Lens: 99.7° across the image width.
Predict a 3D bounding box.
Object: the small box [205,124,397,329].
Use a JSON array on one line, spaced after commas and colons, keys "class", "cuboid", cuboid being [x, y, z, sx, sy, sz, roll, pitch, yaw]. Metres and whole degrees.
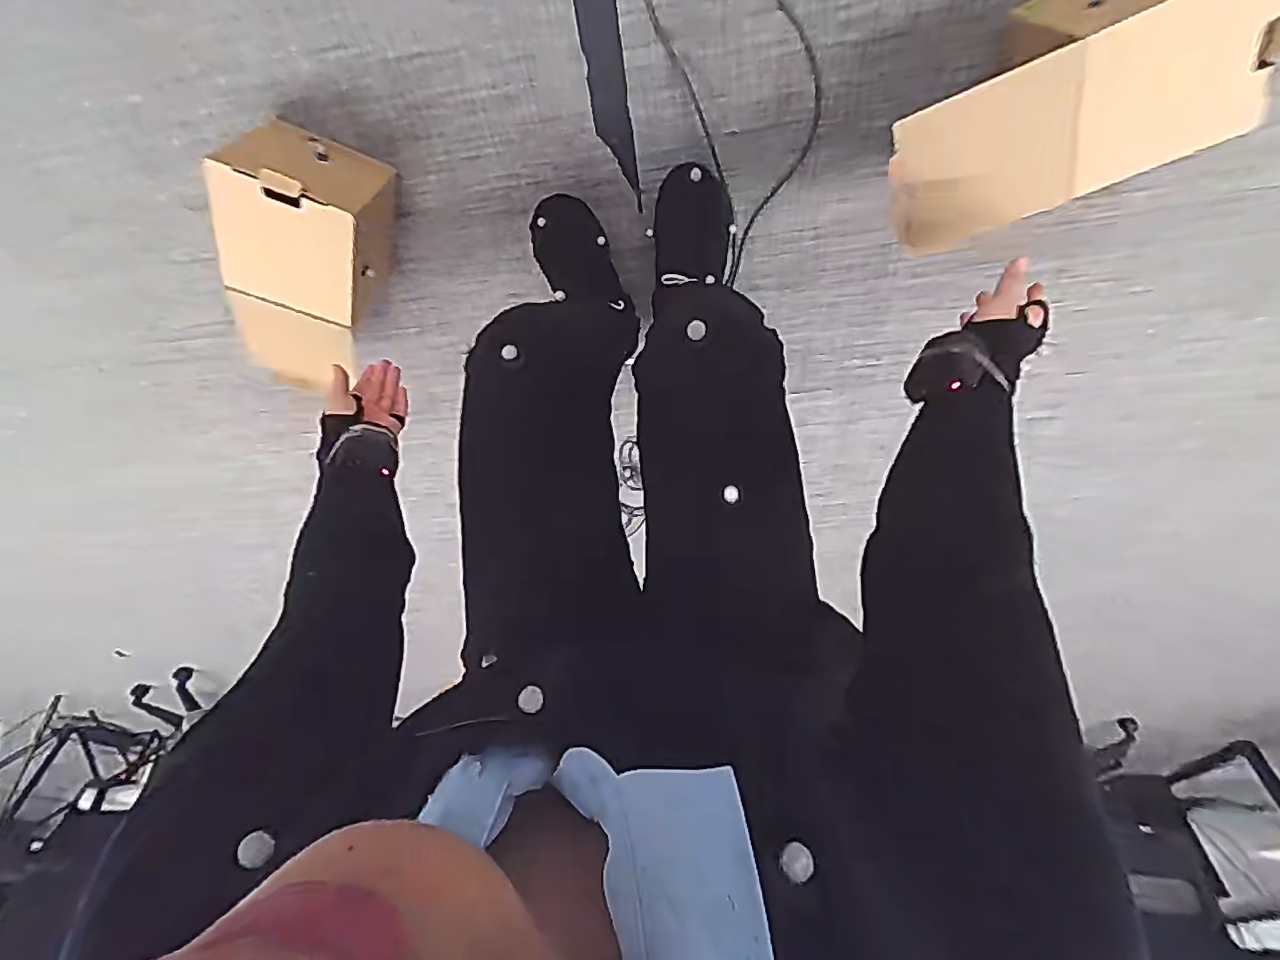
[{"class": "small box", "cuboid": [-0.452, -0.350, 0.750, 0.168, 0.176, 0.179, 17, 134, -15]}]
